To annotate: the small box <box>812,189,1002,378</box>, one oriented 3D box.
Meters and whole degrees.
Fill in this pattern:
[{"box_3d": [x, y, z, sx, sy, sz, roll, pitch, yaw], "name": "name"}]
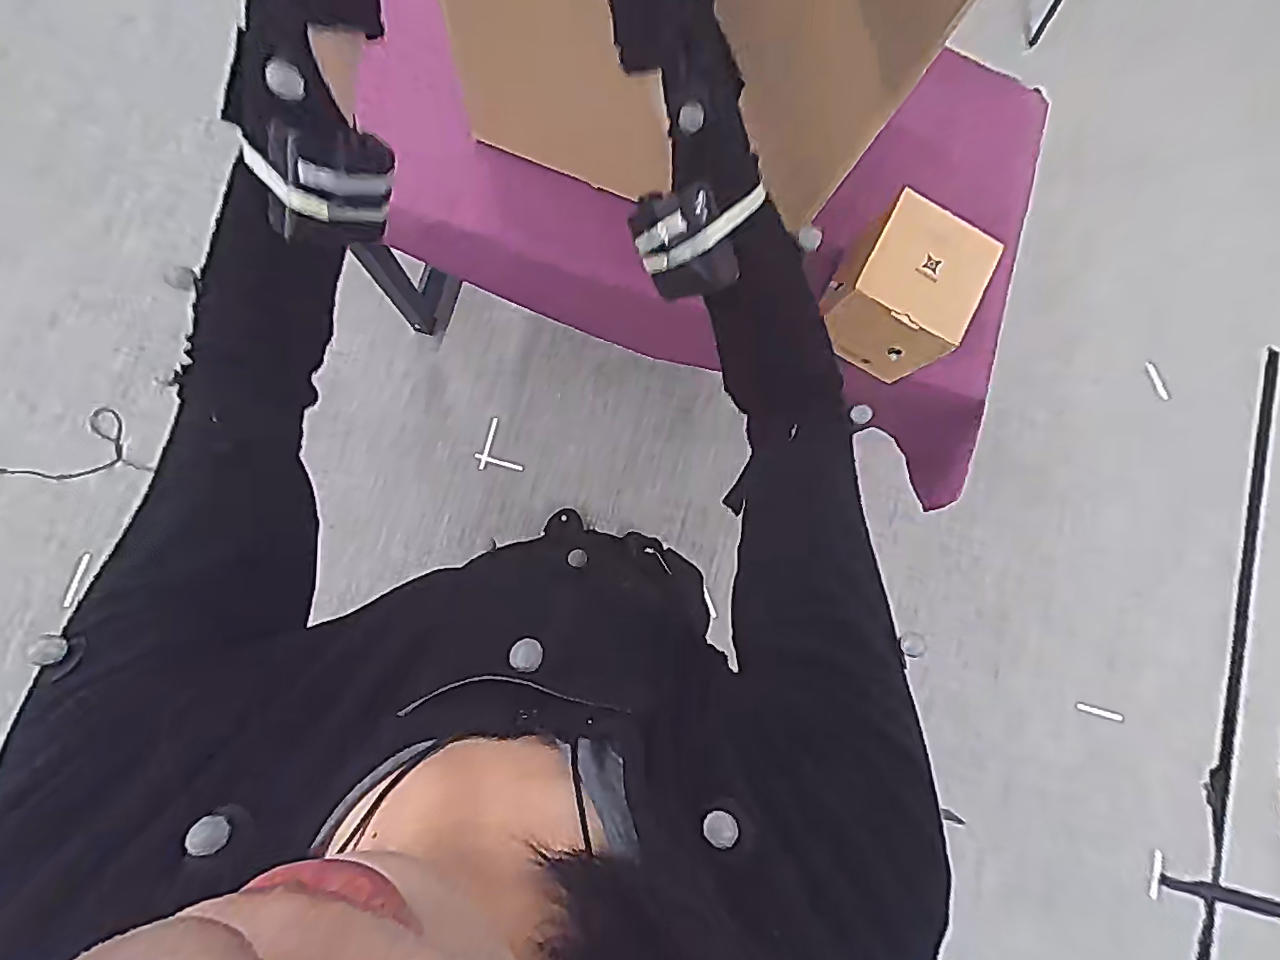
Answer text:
[{"box_3d": [0.386, -0.280, 0.814, 0.168, 0.176, 0.179, 29, 80, -4], "name": "small box"}]
